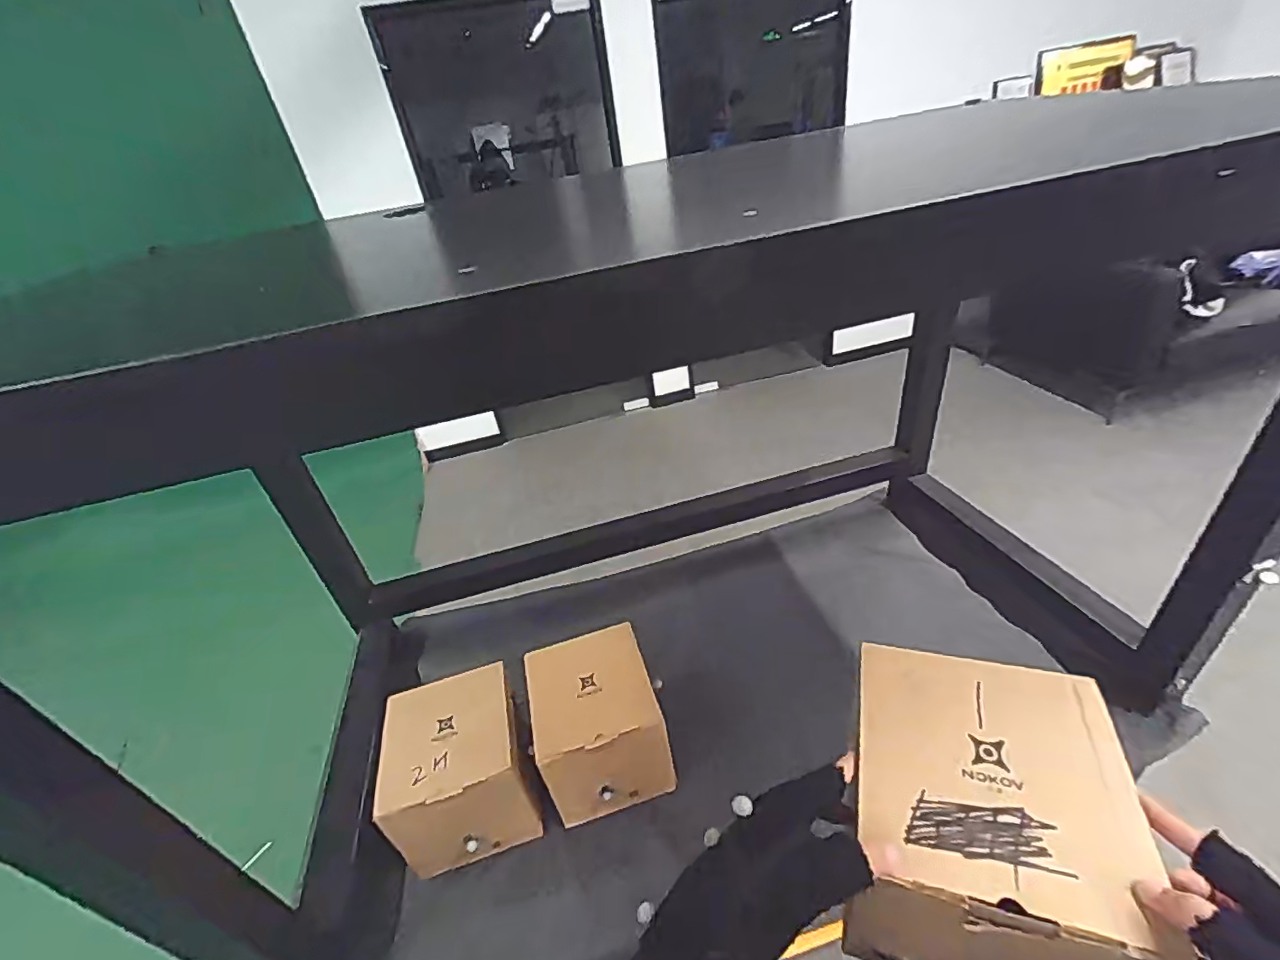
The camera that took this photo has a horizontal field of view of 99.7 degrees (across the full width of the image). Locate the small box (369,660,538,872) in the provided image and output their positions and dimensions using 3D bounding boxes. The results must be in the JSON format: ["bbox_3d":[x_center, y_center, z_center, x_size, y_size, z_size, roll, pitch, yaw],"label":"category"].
[{"bbox_3d":[-0.246,0.390,0.748,0.168,0.176,0.179,-15,33,-8],"label":"small box"}]
